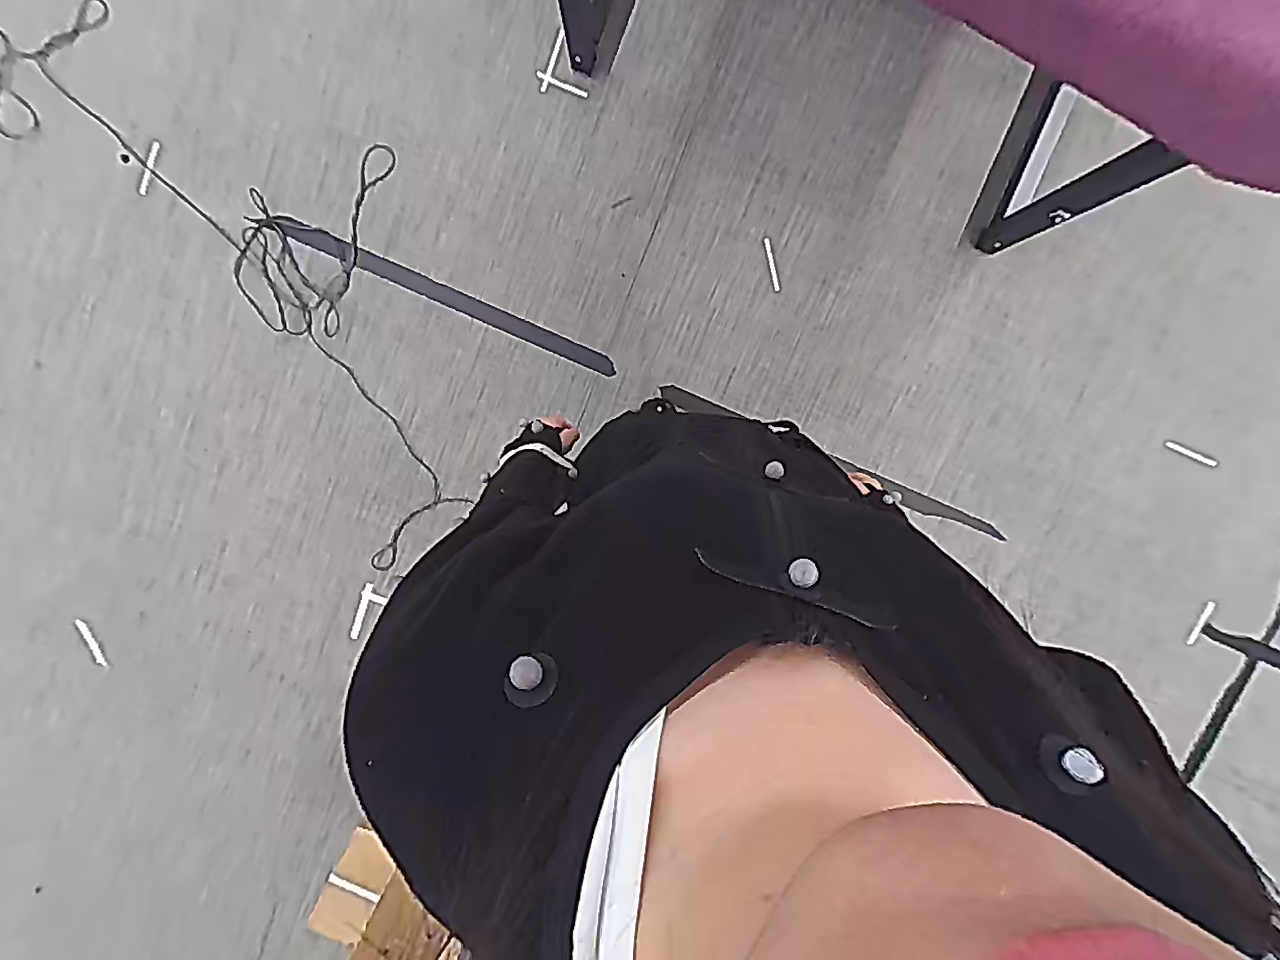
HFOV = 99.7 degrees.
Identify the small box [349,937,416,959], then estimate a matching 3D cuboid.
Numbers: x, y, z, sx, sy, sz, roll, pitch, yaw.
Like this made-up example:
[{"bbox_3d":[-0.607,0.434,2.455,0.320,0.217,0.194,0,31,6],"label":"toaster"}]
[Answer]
[{"bbox_3d":[-0.548,1.075,1.076,0.168,0.176,0.179,27,96,-3],"label":"small box"}]
